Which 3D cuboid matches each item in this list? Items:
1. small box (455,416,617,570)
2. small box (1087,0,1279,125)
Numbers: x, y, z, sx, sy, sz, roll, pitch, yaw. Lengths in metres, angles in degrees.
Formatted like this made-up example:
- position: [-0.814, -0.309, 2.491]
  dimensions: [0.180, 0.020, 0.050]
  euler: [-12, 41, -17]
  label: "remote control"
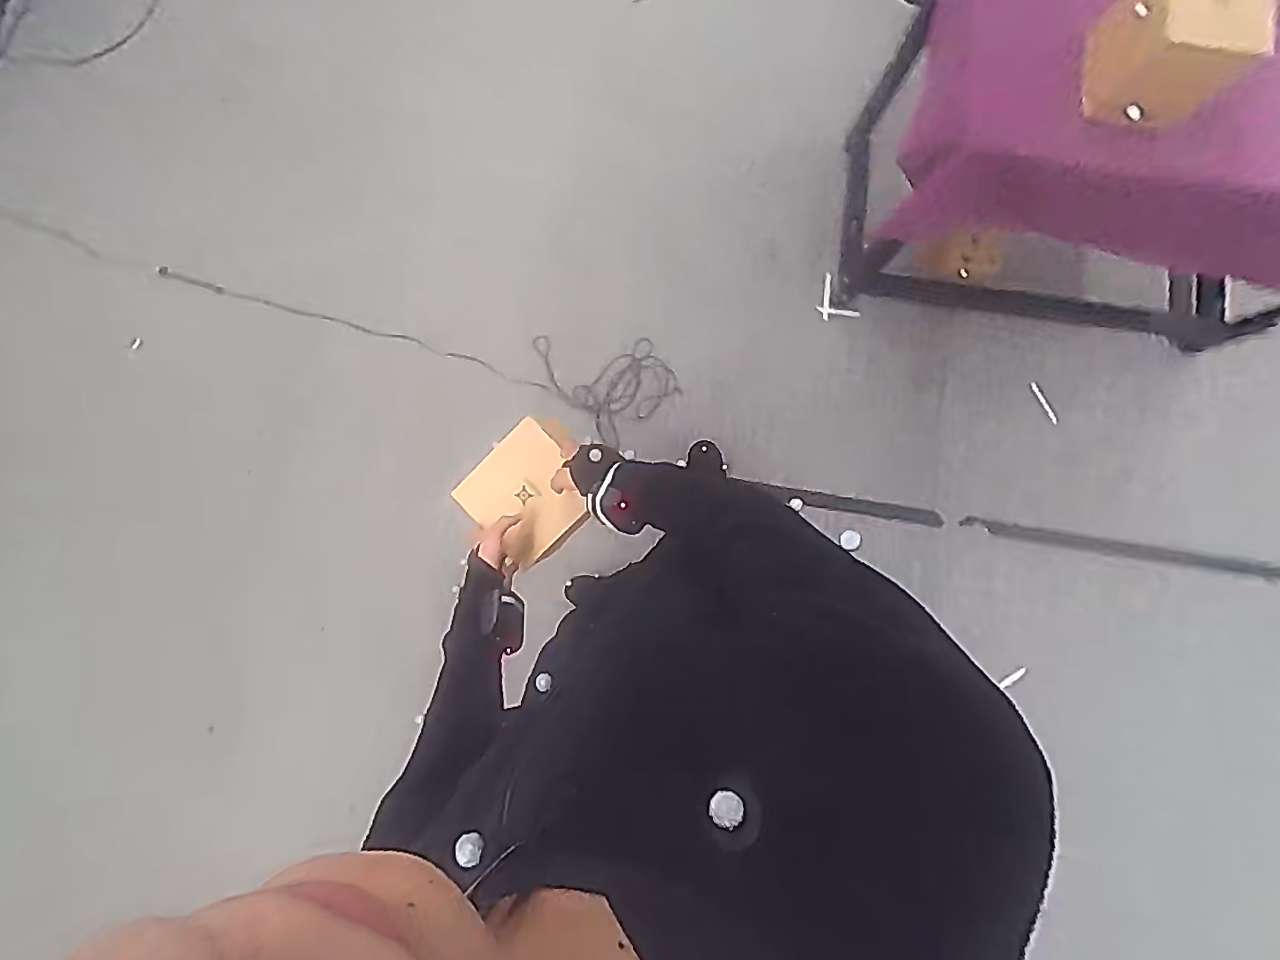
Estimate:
- position: [-0.157, 0.018, 0.884]
  dimensions: [0.179, 0.176, 0.168]
  euler: [-44, 88, 6]
  label: "small box"
- position: [0.893, -0.741, 0.898]
  dimensions: [0.168, 0.176, 0.179]
  euler: [9, 86, 1]
  label: "small box"
